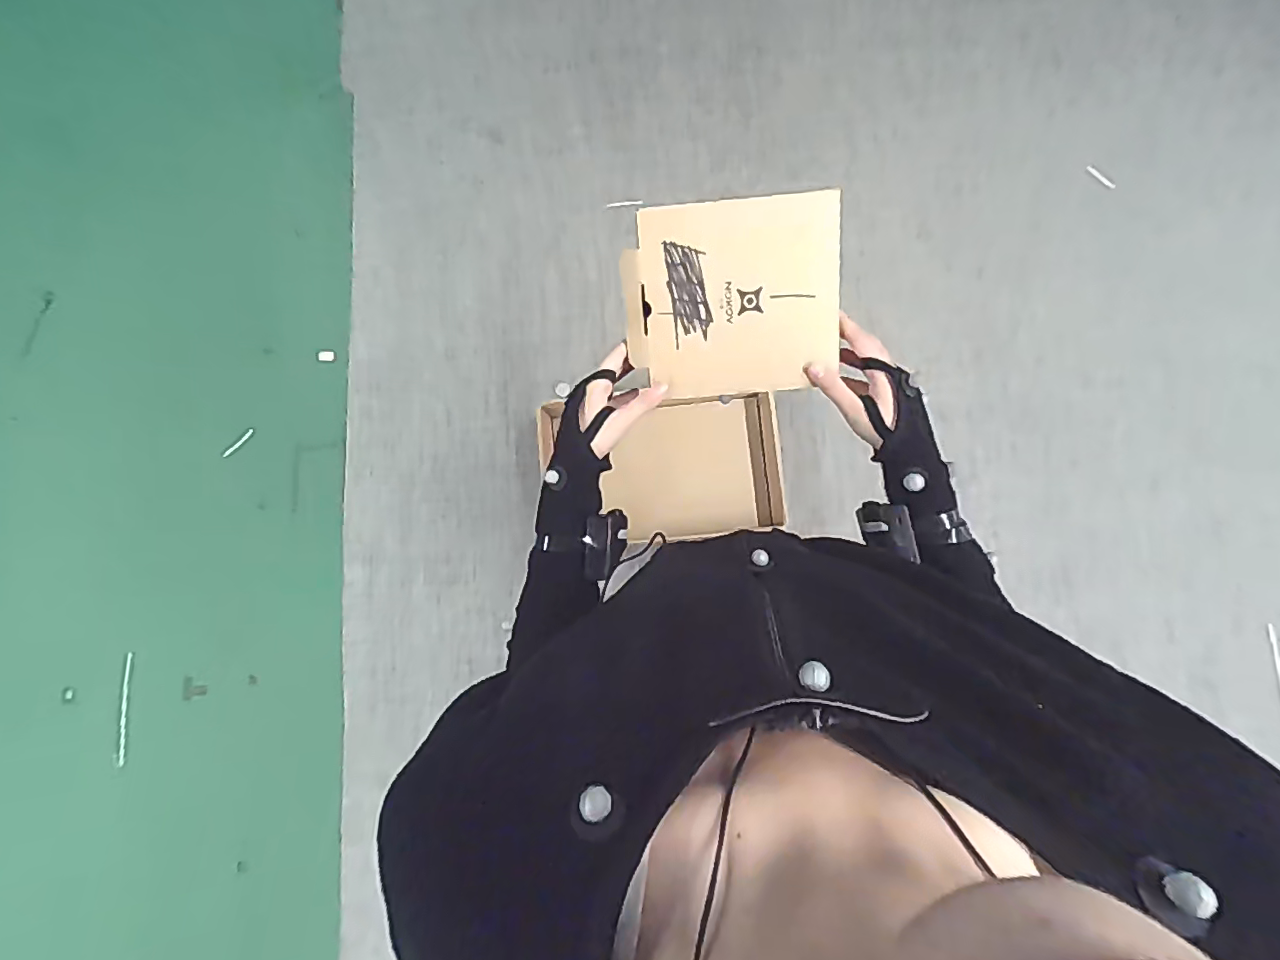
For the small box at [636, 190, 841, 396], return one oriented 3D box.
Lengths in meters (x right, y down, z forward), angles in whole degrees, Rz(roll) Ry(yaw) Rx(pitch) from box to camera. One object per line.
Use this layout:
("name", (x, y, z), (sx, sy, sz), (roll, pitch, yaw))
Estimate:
("small box", (0.094, -0.181, 0.558), (0.179, 0.176, 0.168), (-4, 105, 4))
